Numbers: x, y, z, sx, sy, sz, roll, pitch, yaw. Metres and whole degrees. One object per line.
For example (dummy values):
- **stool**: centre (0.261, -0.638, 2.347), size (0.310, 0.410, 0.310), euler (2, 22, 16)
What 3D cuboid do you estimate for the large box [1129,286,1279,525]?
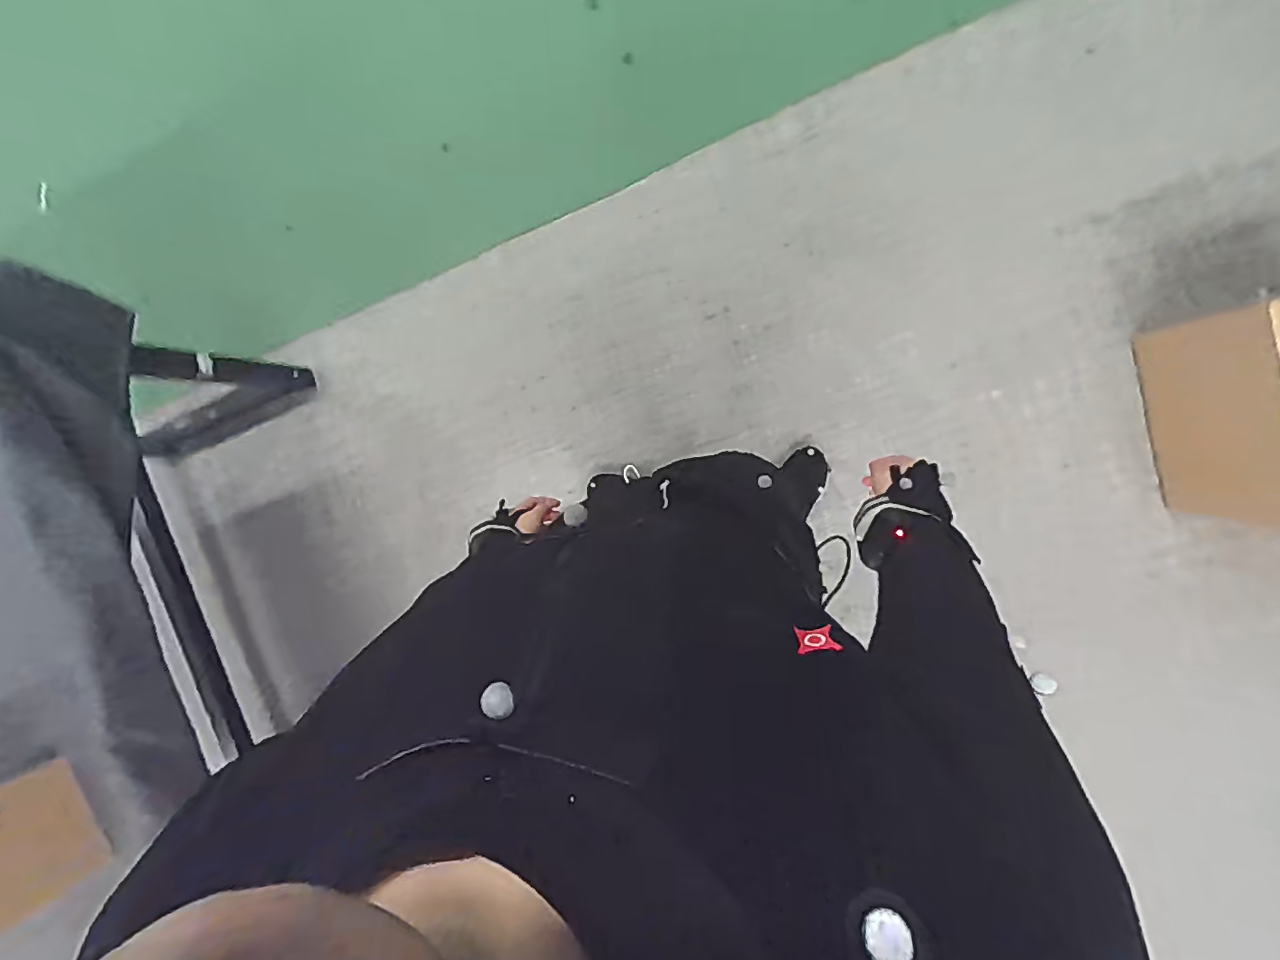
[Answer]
- **large box**: centre (1.233, -0.158, 1.013), size (0.320, 0.320, 0.408), euler (-15, 94, 11)
